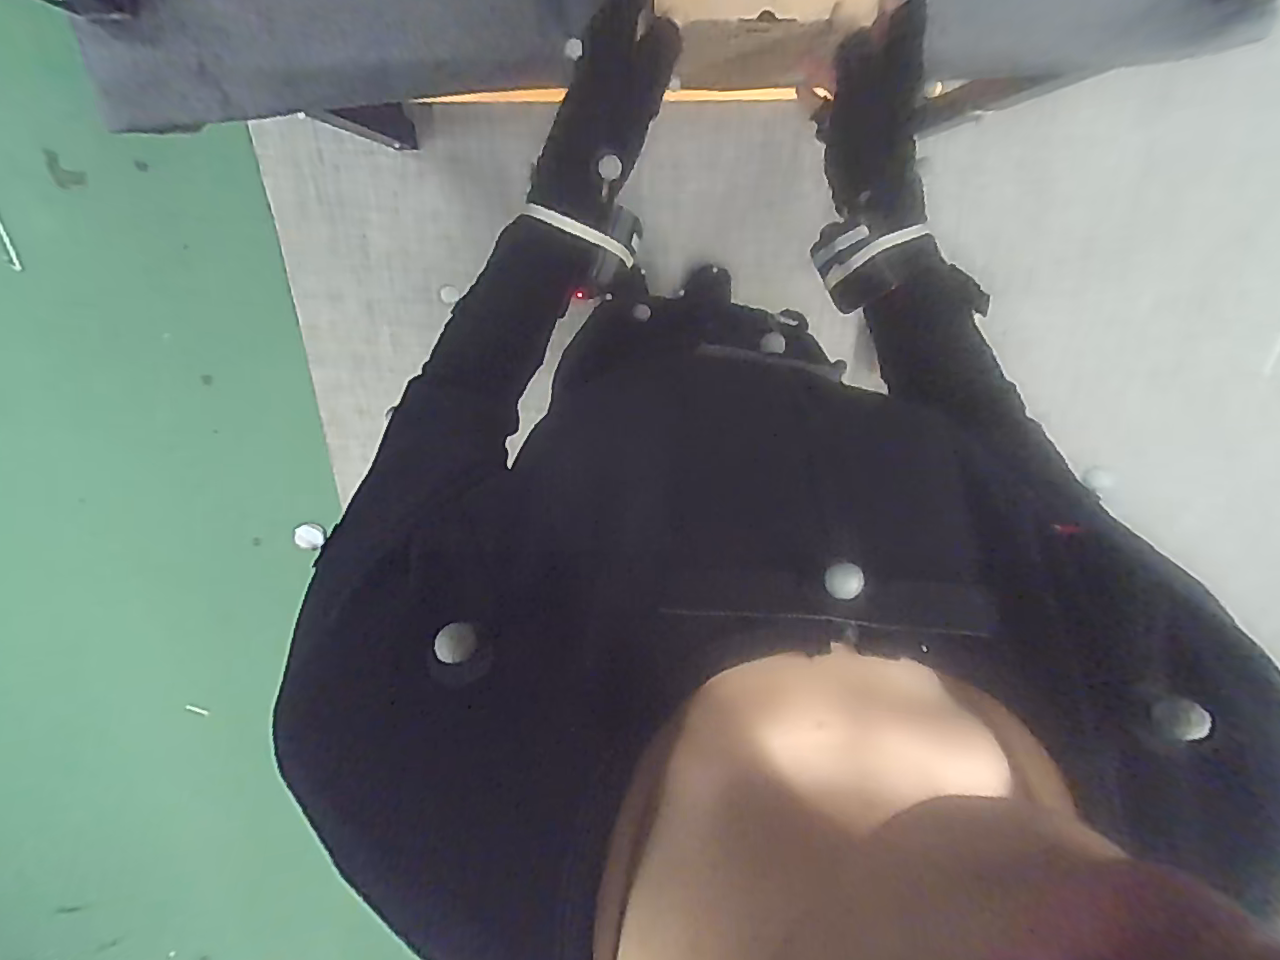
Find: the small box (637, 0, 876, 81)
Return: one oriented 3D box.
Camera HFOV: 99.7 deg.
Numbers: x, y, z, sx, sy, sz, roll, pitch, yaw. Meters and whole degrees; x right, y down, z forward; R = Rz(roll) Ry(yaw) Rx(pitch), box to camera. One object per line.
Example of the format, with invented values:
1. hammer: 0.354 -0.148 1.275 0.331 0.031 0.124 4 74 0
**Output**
1. small box: 0.084 -0.435 0.425 0.168 0.176 0.179 -2 115 -3
